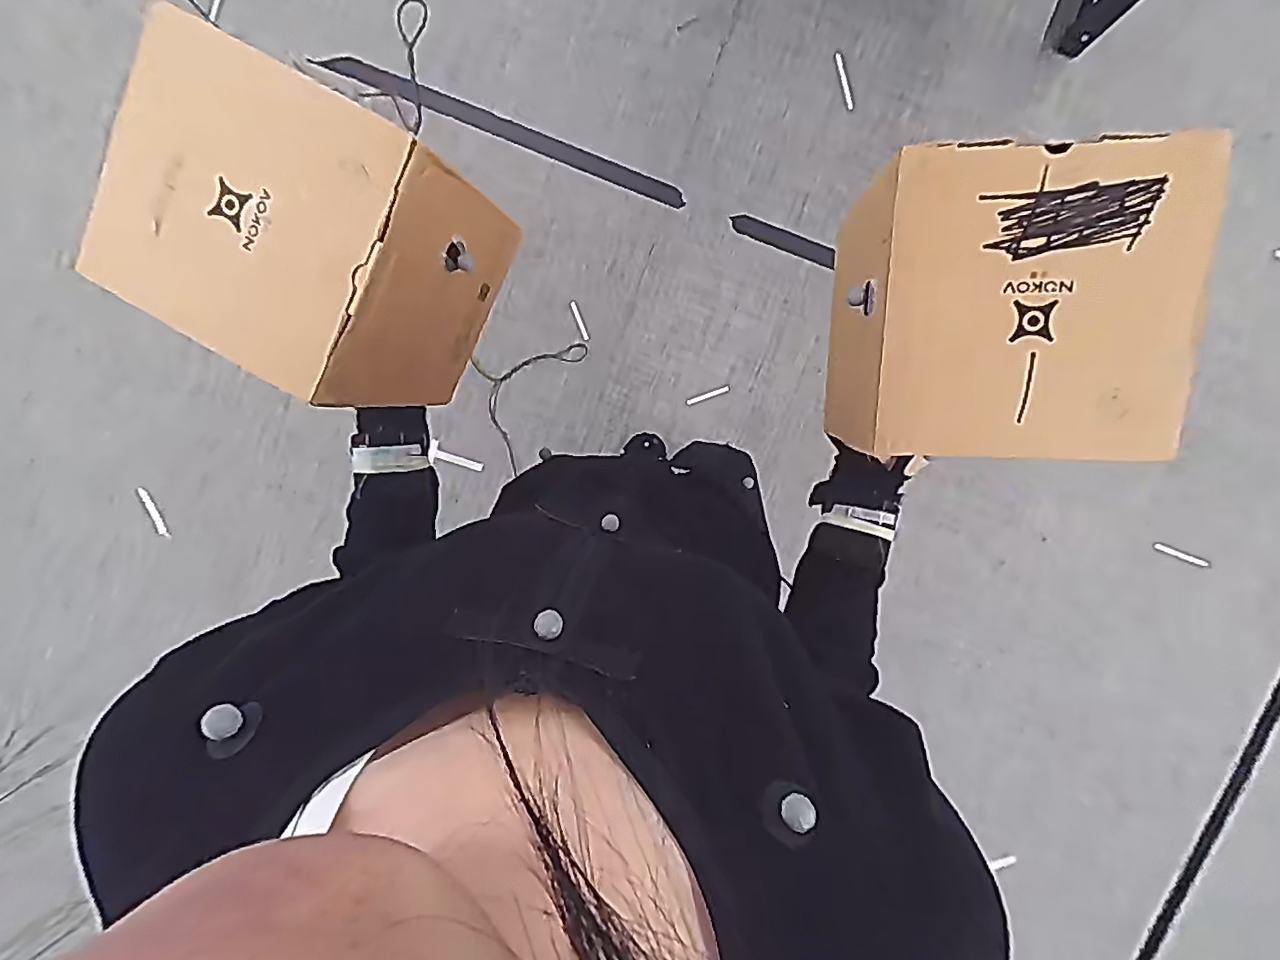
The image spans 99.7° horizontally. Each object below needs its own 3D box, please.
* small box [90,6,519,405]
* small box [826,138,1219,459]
[{"bbox_3d":[-0.215,-0.167,0.392,0.179,0.176,0.168,29,100,4],"label":"small box"},{"bbox_3d":[0.238,-0.114,0.390,0.168,0.176,0.179,2,100,8],"label":"small box"}]
